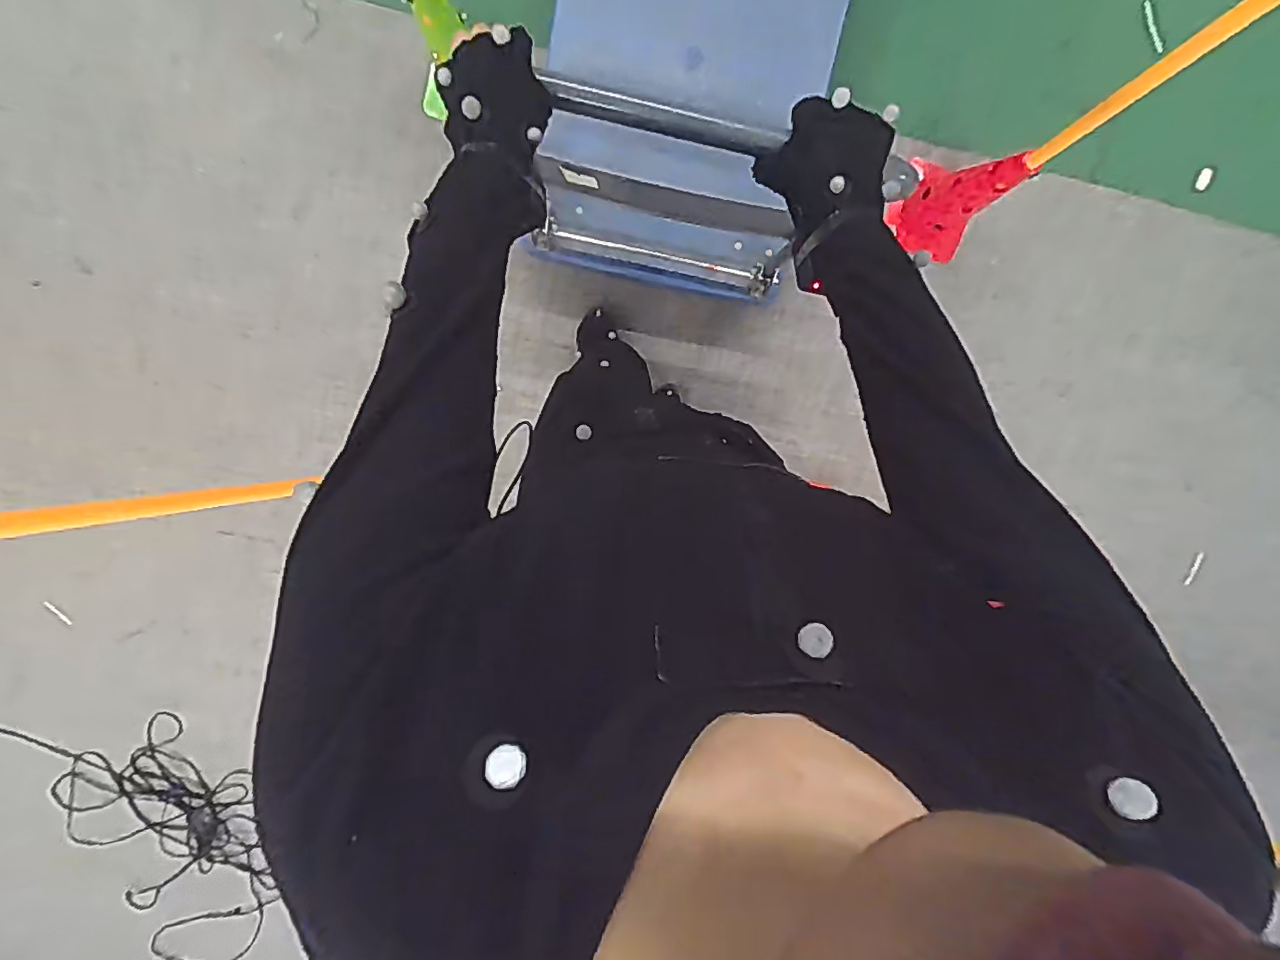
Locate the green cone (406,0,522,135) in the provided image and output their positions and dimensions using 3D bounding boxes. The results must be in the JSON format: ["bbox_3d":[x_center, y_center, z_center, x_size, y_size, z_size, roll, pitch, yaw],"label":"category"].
[{"bbox_3d":[-0.388,-0.897,1.089,0.202,0.368,0.200,17,101,-4],"label":"green cone"}]

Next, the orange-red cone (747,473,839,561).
[{"bbox_3d":[0.411,0.124,1.338,0.199,0.360,0.198,12,102,-2],"label":"orange-red cone"}]
